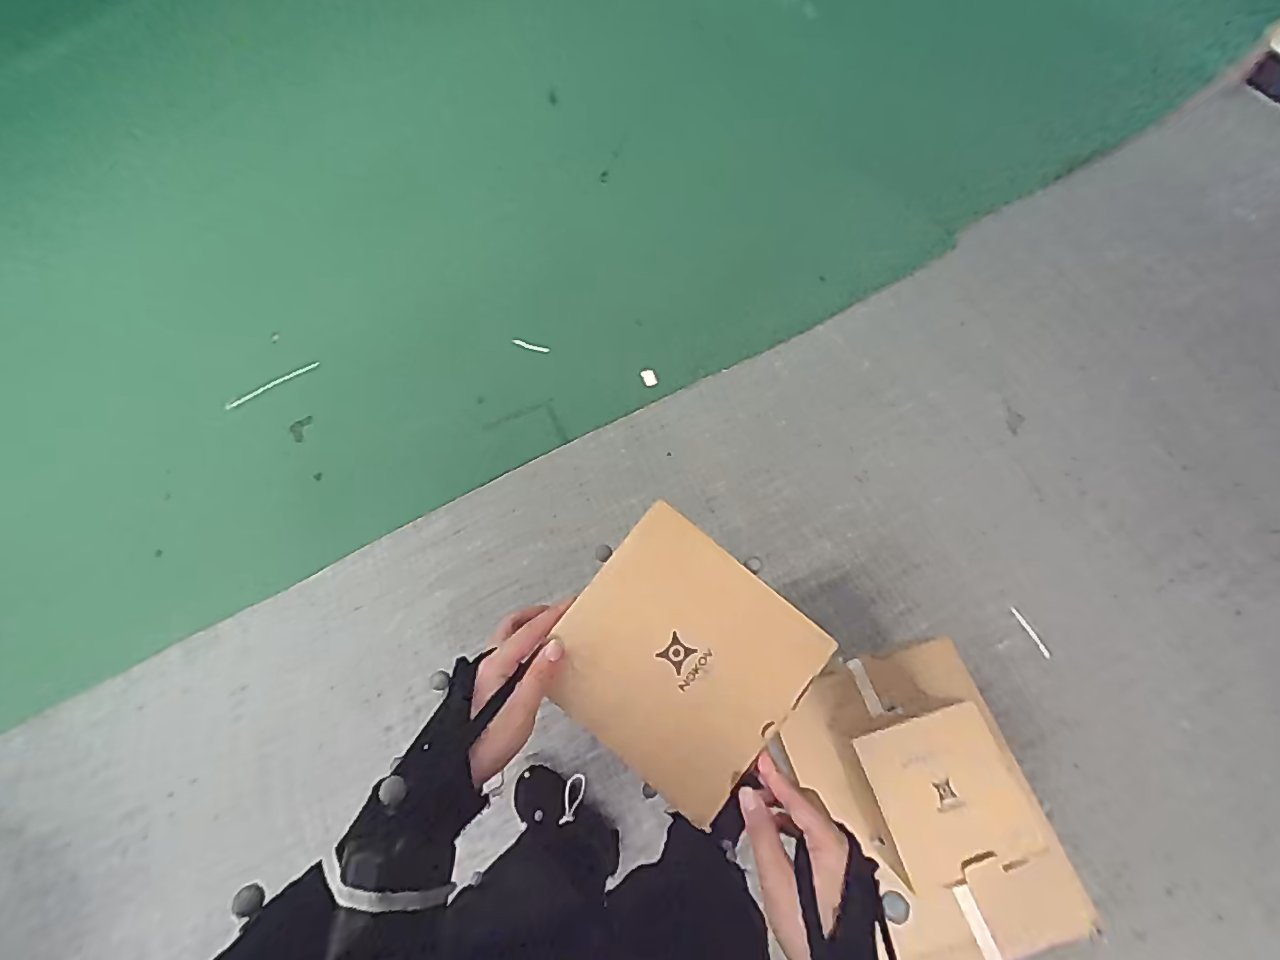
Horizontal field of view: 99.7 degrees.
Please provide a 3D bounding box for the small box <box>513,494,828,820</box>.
[{"bbox_3d":[0.019,0.137,0.472,0.179,0.176,0.168,38,81,3],"label":"small box"}]

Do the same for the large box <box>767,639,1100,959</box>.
[{"bbox_3d":[0.432,0.527,0.936,0.320,0.320,0.408,-21,69,2],"label":"large box"}]

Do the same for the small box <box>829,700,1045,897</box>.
[{"bbox_3d":[0.377,0.409,0.727,0.168,0.176,0.179,-19,67,0],"label":"small box"}]
